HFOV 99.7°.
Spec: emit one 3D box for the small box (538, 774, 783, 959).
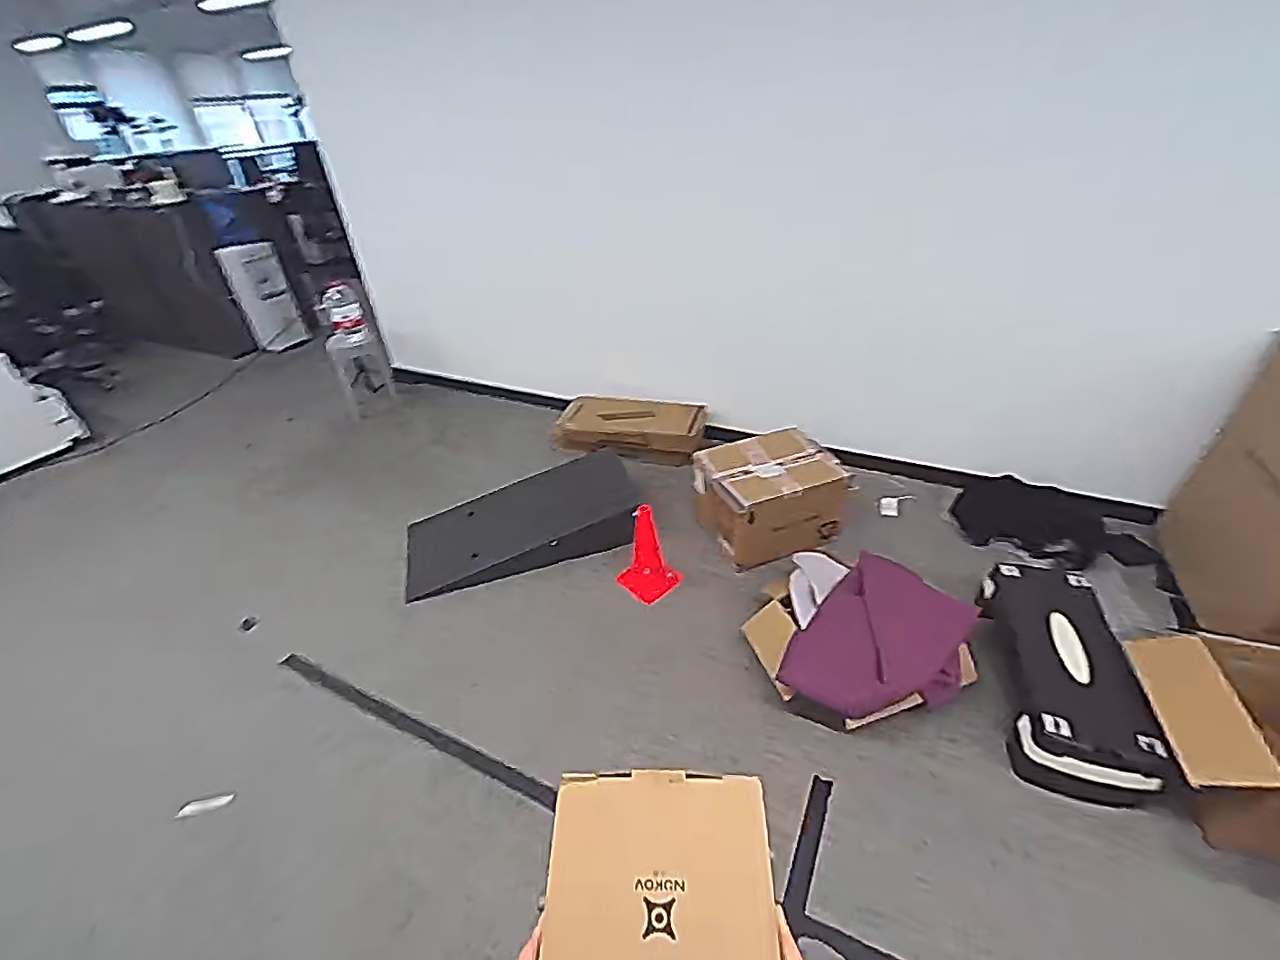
[{"bbox_3d":[0.017,0.354,0.434,0.168,0.176,0.179,-2,49,3],"label":"small box"}]
